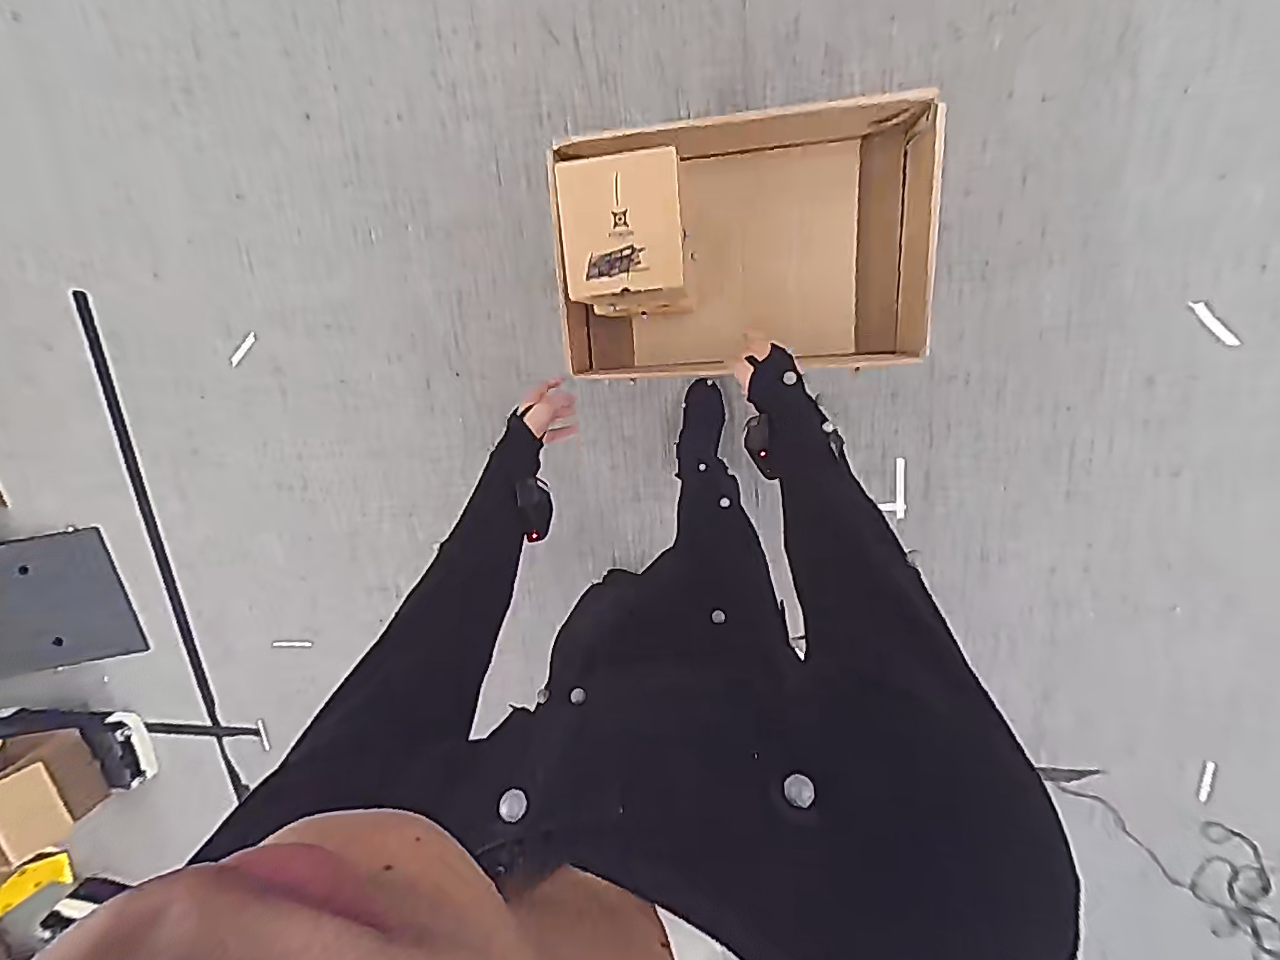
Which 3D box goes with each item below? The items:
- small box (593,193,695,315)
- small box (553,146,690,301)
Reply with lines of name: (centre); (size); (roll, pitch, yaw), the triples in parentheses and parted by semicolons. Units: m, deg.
small box: (0.008, -0.392, 0.960); (0.168, 0.176, 0.179); (-2, 105, 10)
small box: (-0.016, -0.362, 0.800); (0.168, 0.176, 0.179); (-2, 104, 10)
